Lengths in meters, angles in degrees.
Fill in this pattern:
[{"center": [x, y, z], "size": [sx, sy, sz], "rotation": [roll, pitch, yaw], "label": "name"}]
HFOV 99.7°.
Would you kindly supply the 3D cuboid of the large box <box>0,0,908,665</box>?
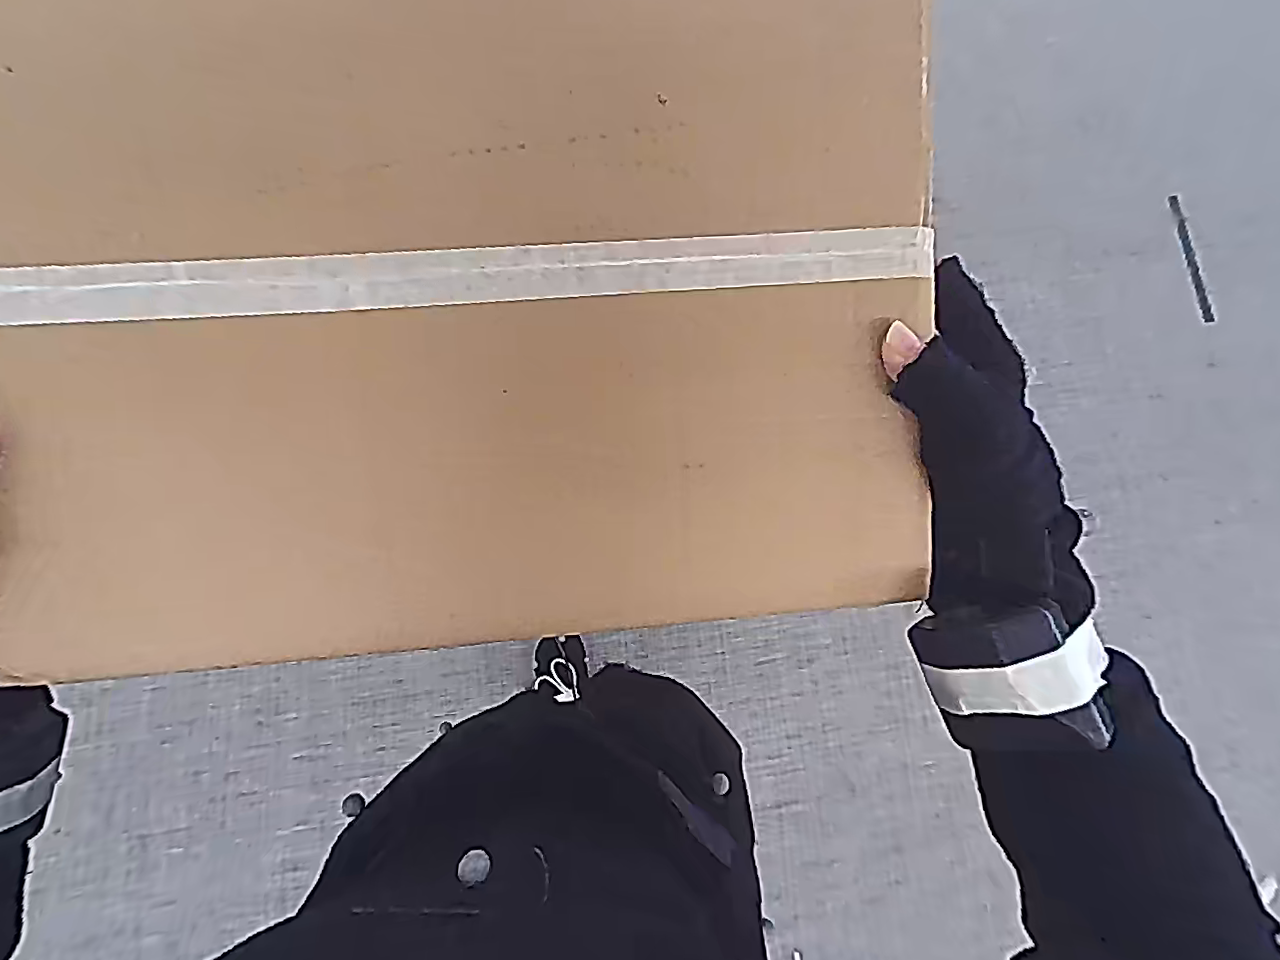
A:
[{"center": [-0.088, -0.106, 0.378], "size": [0.408, 0.320, 0.320], "rotation": [-4, 98, -5], "label": "large box"}]
